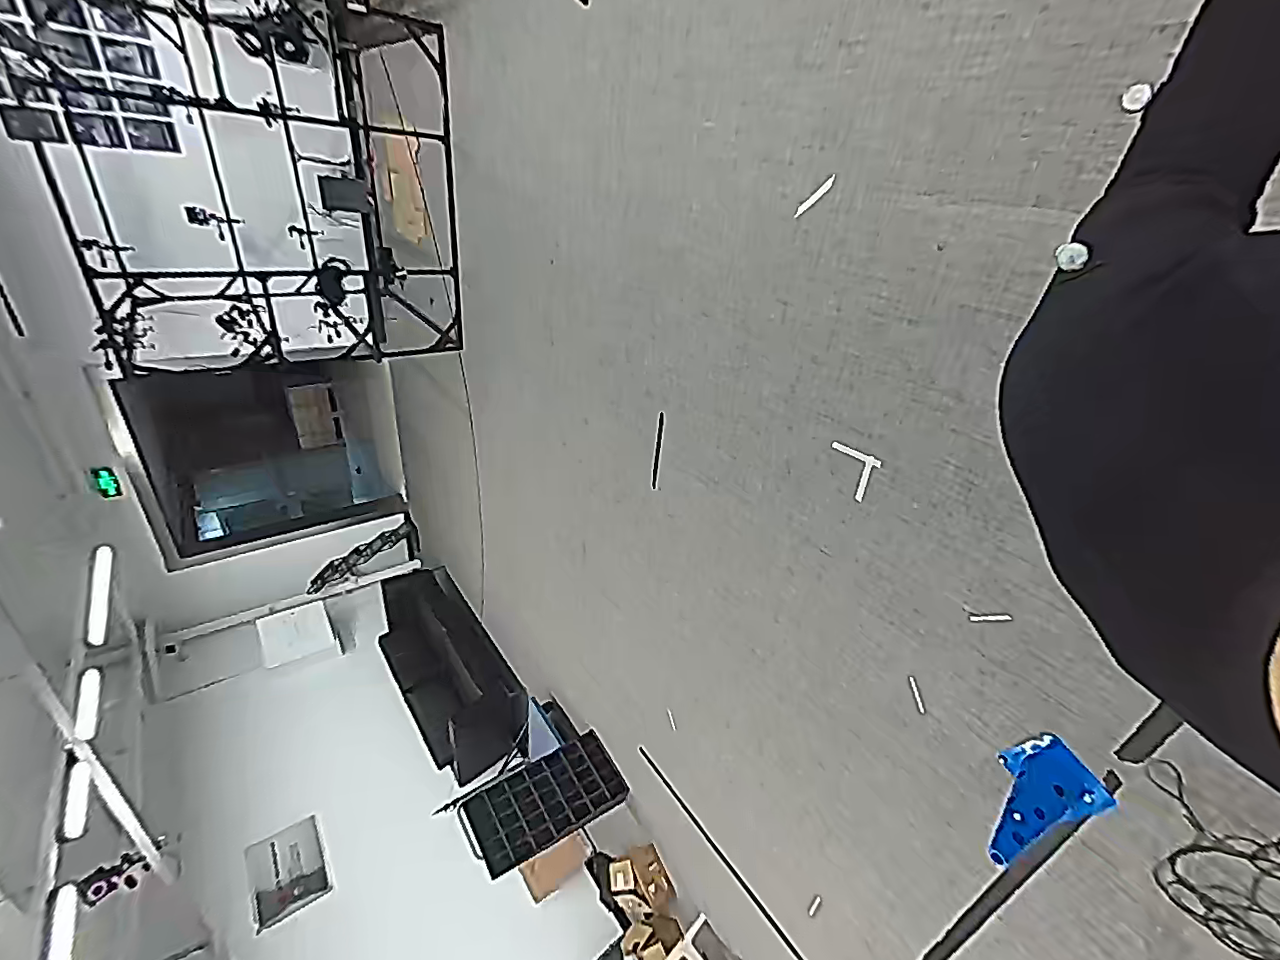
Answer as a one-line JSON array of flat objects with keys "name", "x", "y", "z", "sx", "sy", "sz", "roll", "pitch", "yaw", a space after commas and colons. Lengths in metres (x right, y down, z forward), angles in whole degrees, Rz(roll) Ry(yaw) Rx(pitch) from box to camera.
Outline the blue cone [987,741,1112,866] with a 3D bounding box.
[{"name": "blue cone", "x": 0.988, "y": 0.844, "z": 1.364, "sx": 0.193, "sy": 0.380, "sz": 0.192, "roll": 56, "pitch": 143, "yaw": 27}]
